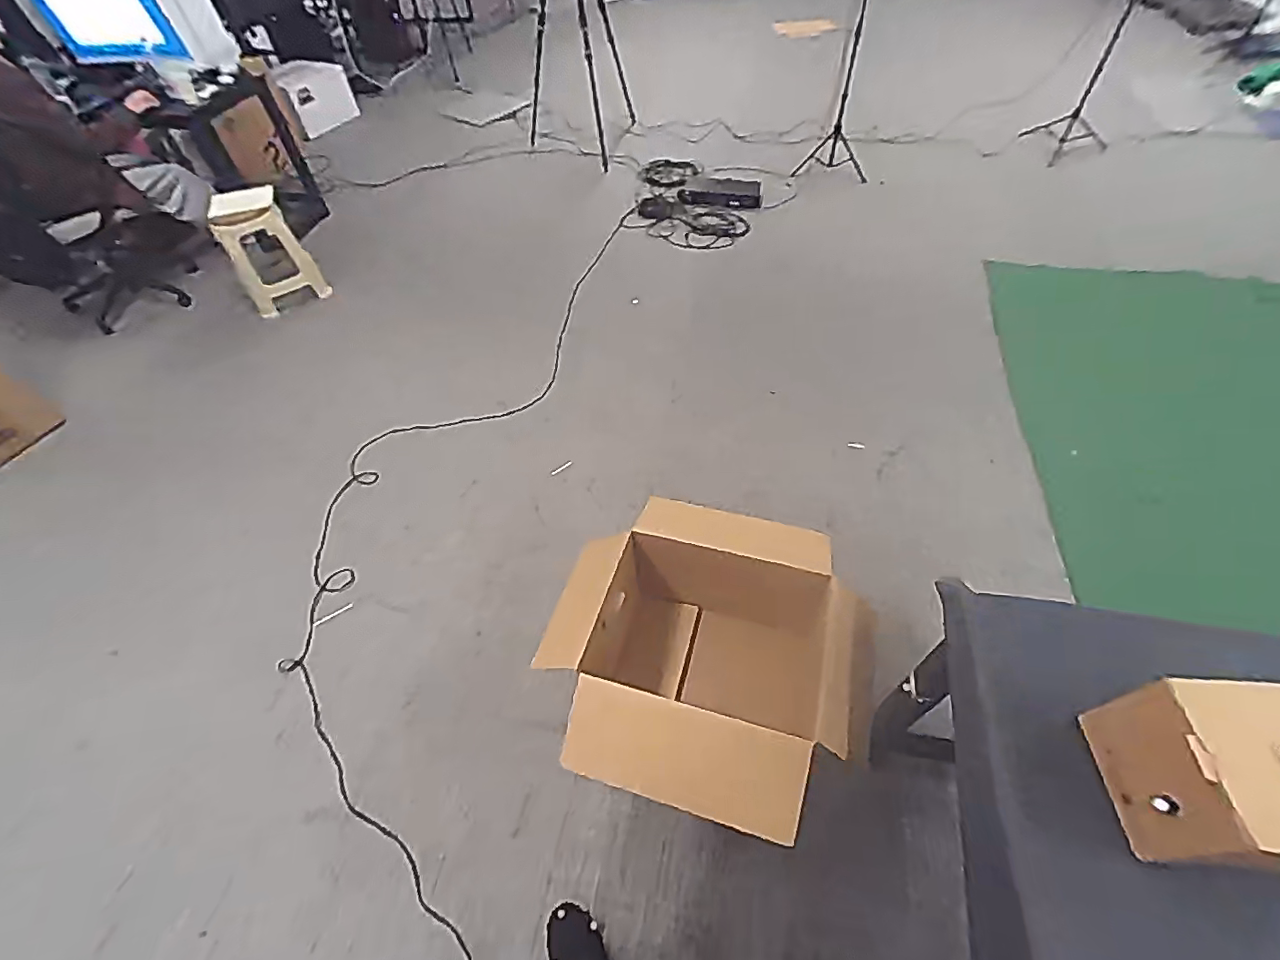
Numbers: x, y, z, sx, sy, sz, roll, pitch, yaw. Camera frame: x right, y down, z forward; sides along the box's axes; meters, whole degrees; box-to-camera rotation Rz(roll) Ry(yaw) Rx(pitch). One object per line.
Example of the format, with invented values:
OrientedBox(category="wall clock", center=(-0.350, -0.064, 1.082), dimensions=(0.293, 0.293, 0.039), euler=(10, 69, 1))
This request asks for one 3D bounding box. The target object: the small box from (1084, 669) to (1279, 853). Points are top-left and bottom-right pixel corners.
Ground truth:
OrientedBox(category="small box", center=(0.673, 0.331, 0.631), dimensions=(0.179, 0.176, 0.168), euler=(1, 54, 2))
